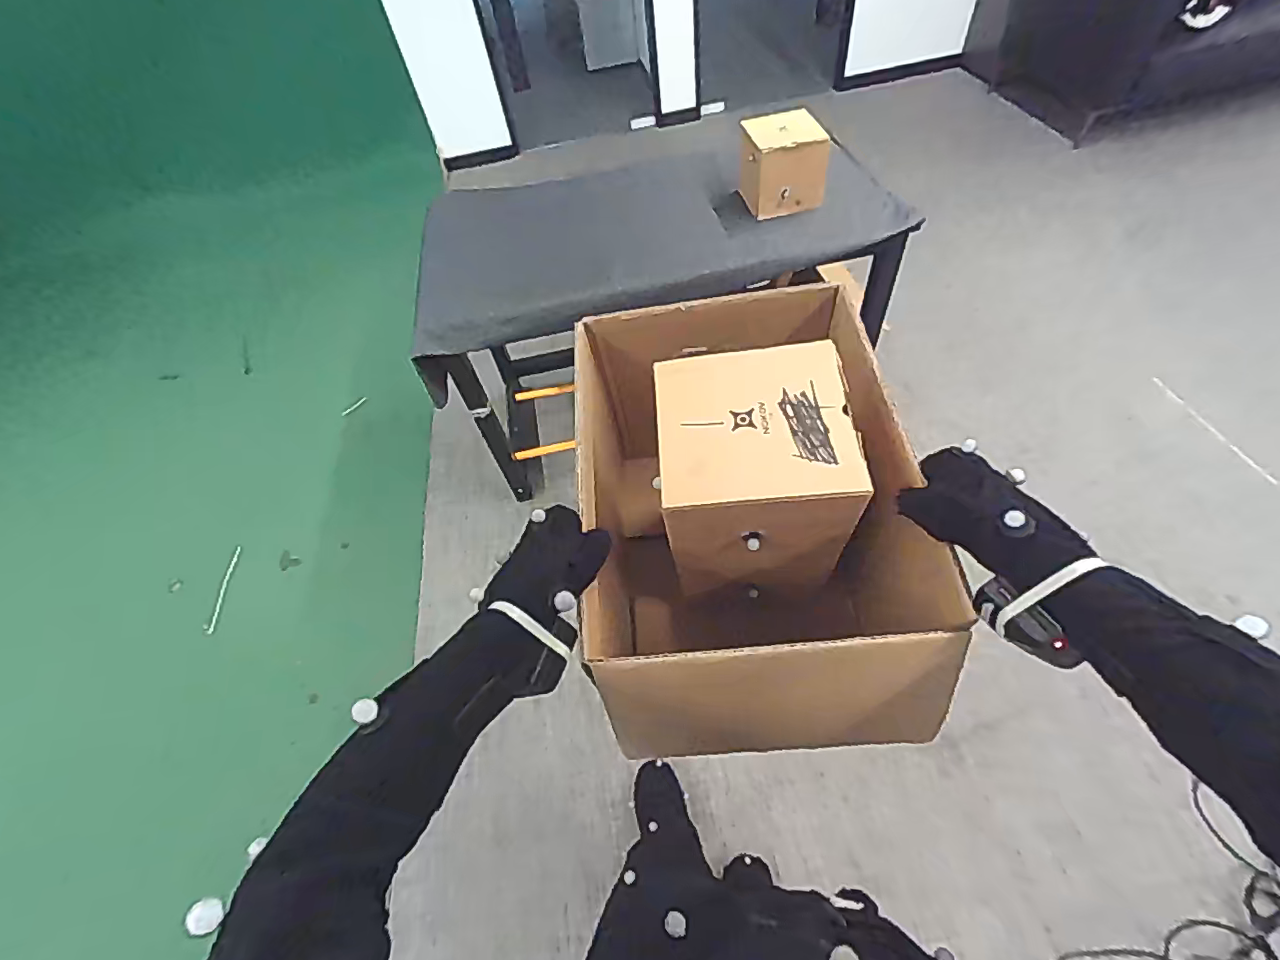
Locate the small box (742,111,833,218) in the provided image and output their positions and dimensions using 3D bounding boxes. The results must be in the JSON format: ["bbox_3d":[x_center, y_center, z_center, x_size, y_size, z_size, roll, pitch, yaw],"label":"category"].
[{"bbox_3d":[0.357,-0.782,1.345,0.168,0.176,0.179,-11,53,0],"label":"small box"}]
